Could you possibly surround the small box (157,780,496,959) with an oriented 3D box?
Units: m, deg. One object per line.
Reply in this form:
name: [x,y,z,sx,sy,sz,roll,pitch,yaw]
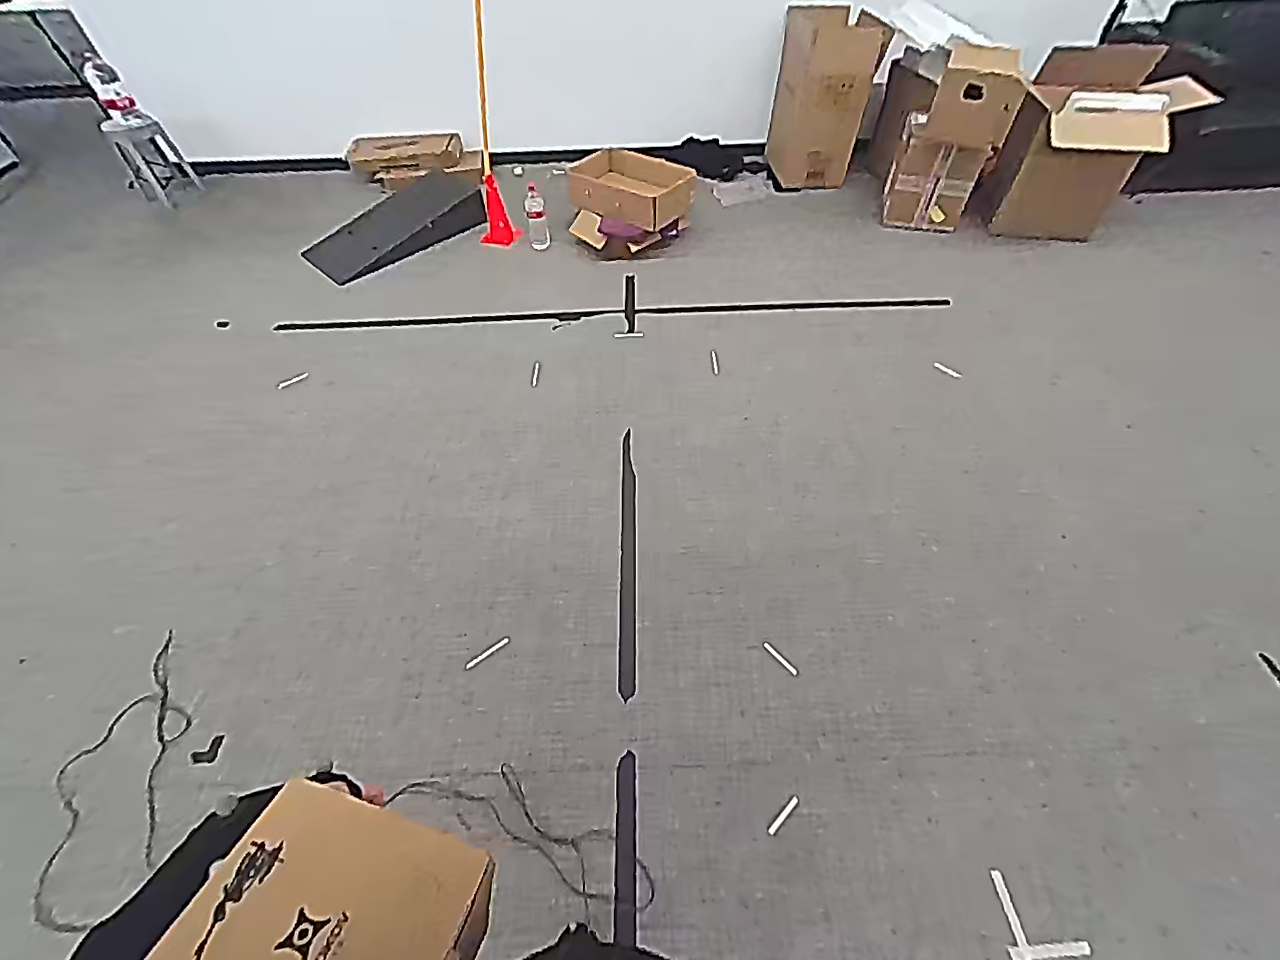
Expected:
small box: [-0.228,0.372,0.405,0.179,0.176,0.168,18,34,5]
